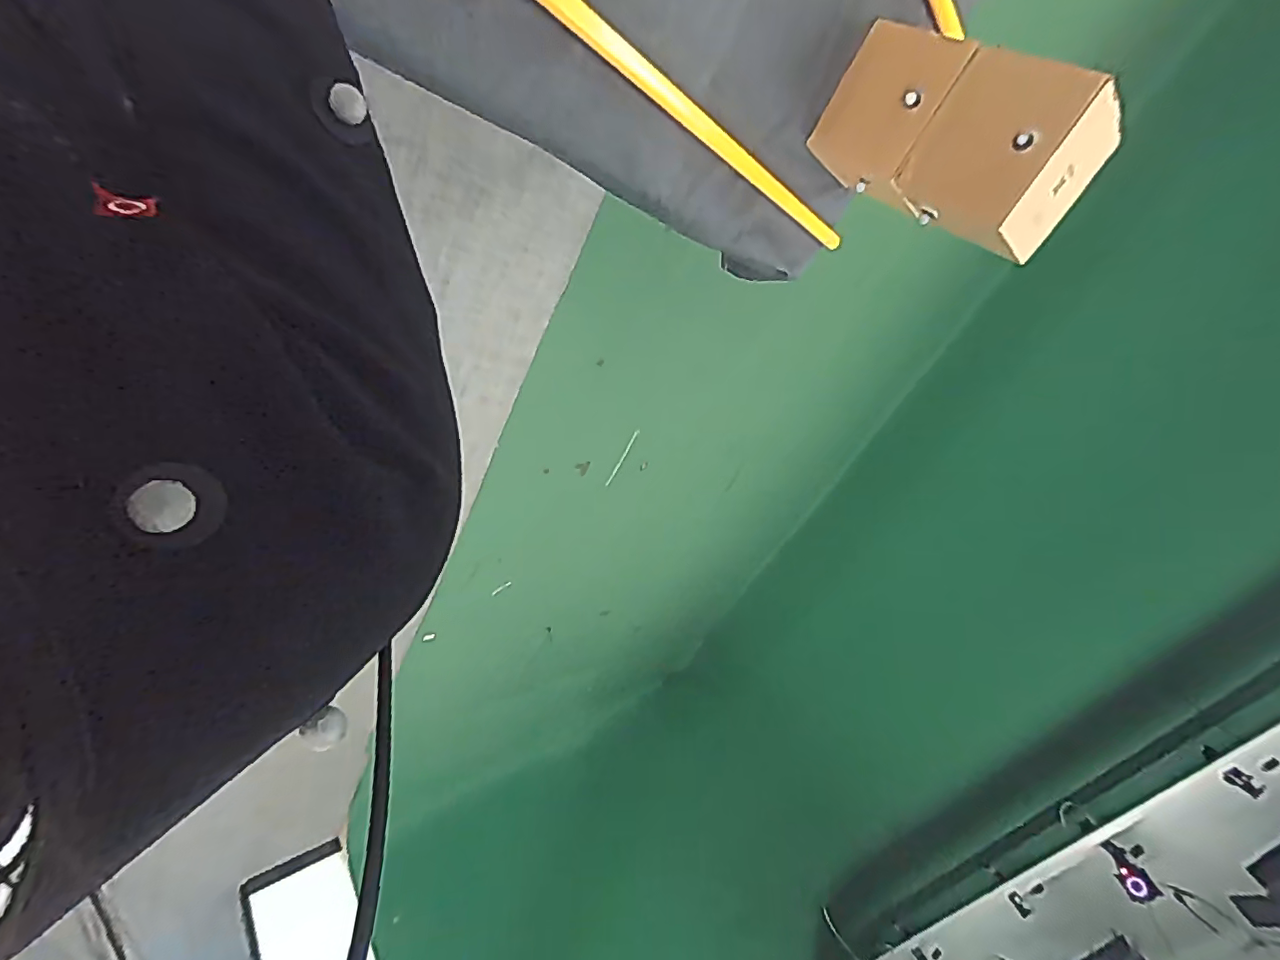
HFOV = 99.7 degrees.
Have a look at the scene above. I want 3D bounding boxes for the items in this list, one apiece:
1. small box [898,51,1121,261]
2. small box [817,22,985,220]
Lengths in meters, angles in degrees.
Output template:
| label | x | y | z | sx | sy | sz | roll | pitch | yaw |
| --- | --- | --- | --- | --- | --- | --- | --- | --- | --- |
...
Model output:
| label | x | y | z | sx | sy | sz | roll | pitch | yaw |
| --- | --- | --- | --- | --- | --- | --- | --- | --- | --- |
| small box | 0.493 | -0.435 | 0.733 | 0.168 | 0.176 | 0.179 | -1 | 130 | -46 |
| small box | 0.395 | -0.535 | 0.815 | 0.168 | 0.176 | 0.179 | 1 | 128 | -48 |
